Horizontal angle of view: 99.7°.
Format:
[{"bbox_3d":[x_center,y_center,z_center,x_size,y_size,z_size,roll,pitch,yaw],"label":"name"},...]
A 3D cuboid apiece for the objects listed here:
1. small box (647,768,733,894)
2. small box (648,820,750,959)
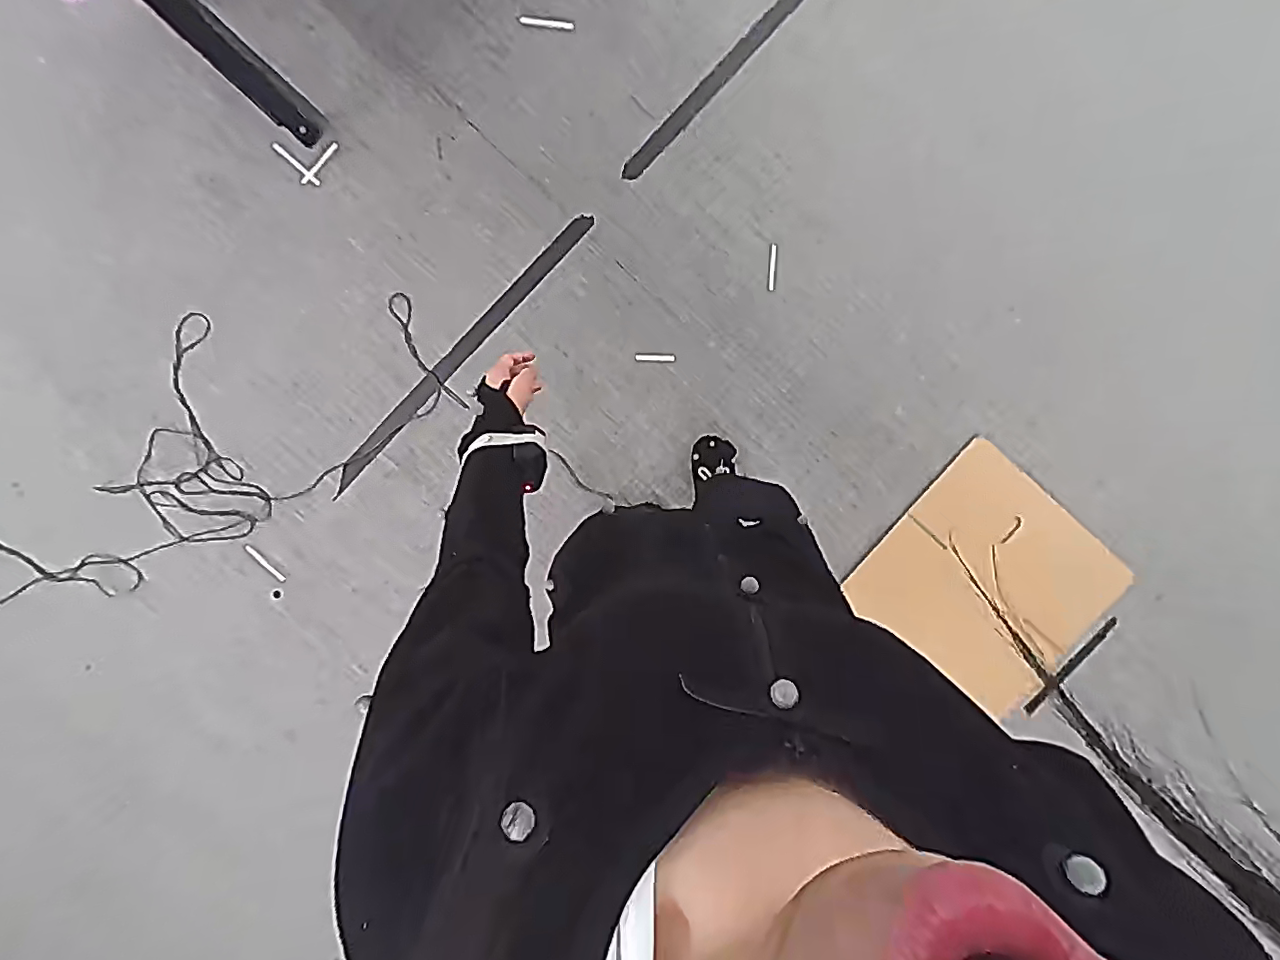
[{"bbox_3d":[0.101,0.749,1.149,0.168,0.176,0.179,1,93,0],"label":"small box"},{"bbox_3d":[0.099,0.763,0.985,0.168,0.176,0.179,2,95,0],"label":"small box"}]
